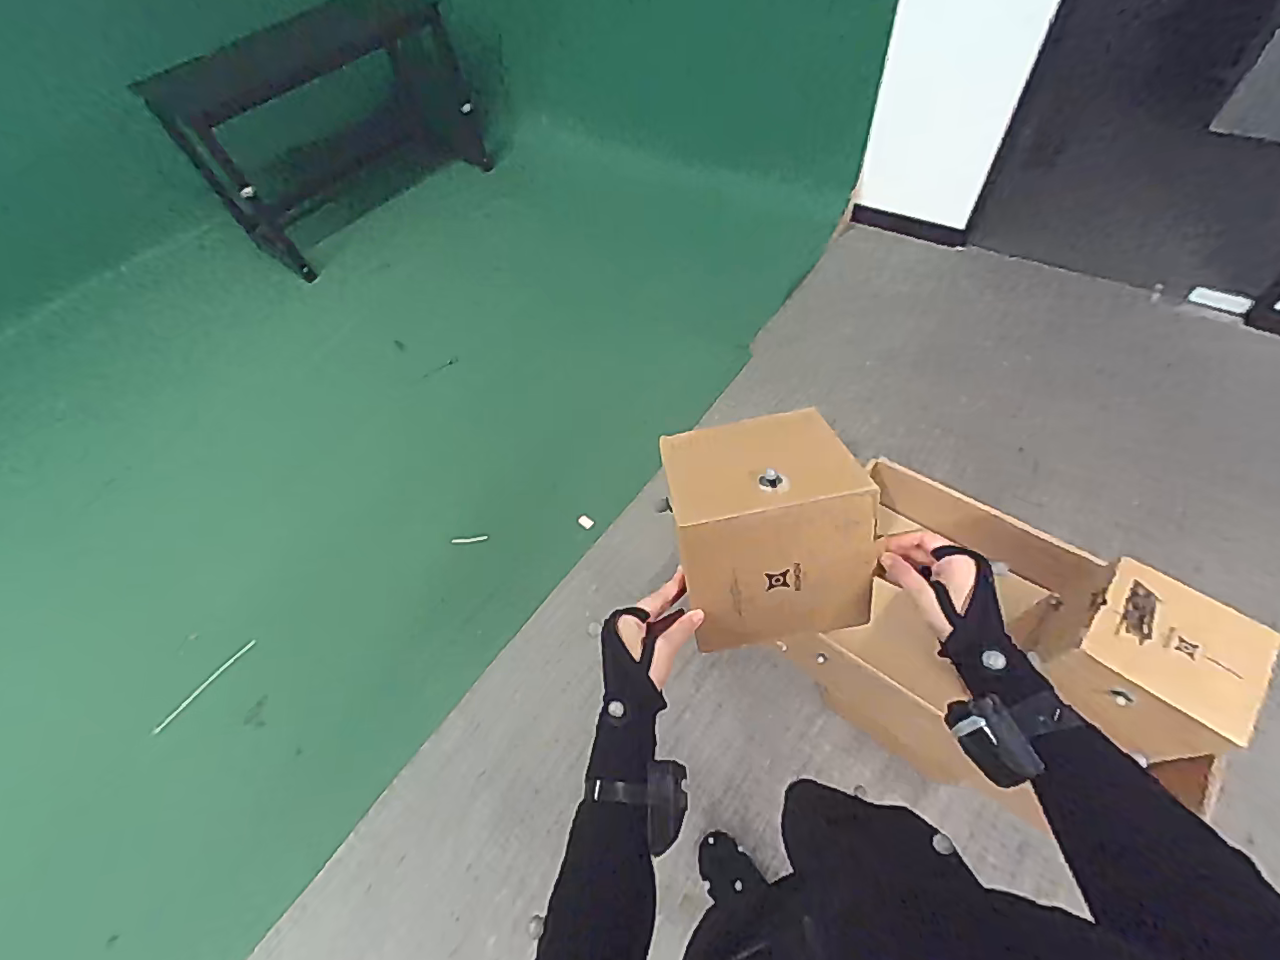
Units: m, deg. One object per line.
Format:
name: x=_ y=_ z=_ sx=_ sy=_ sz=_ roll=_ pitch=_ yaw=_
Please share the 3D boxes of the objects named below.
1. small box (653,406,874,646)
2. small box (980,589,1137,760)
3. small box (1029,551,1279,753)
small box: x=0.117 y=0.039 z=0.559 sx=0.179 sy=0.168 sz=0.176 roll=-11 pitch=31 yaw=3
small box: x=0.678 y=0.313 z=0.859 sx=0.168 sy=0.176 sz=0.179 roll=36 pitch=69 yaw=27
small box: x=0.667 y=0.233 z=0.716 sx=0.179 sy=0.176 sz=0.168 roll=35 pitch=68 yaw=26
